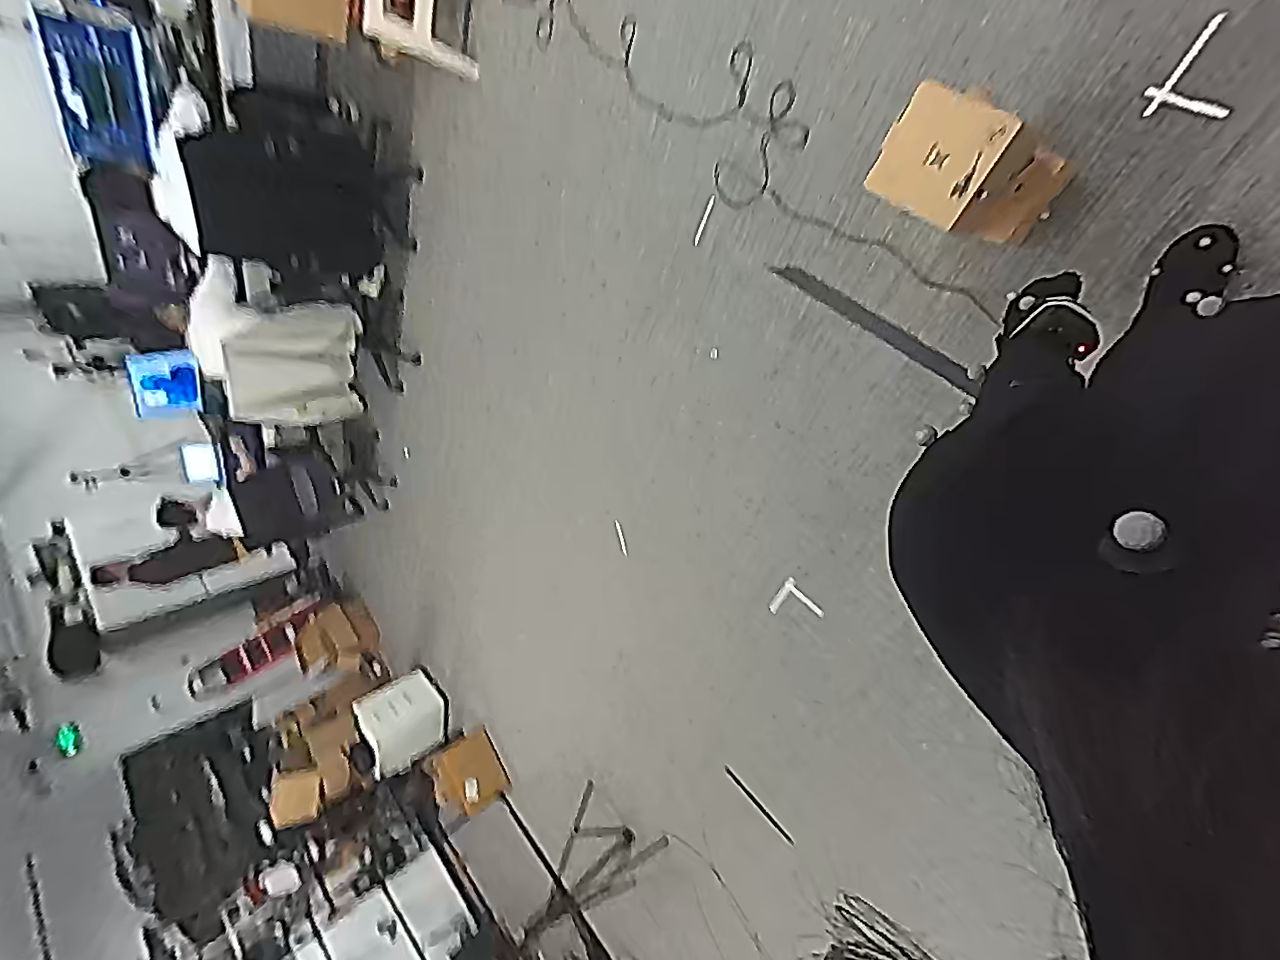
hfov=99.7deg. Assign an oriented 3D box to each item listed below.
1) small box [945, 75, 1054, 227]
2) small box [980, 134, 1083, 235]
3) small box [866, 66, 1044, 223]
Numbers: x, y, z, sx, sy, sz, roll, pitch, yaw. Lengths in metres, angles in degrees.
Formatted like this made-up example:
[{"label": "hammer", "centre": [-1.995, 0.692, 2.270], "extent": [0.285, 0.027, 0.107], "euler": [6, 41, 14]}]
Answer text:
[{"label": "small box", "centre": [0.633, -0.602, 1.013], "extent": [0.168, 0.176, 0.179], "euler": [-41, 75, 44]}, {"label": "small box", "centre": [0.761, -0.620, 1.116], "extent": [0.179, 0.176, 0.168], "euler": [45, 132, 23]}, {"label": "small box", "centre": [0.525, -0.547, 0.903], "extent": [0.179, 0.176, 0.168], "euler": [45, 132, 23]}]
